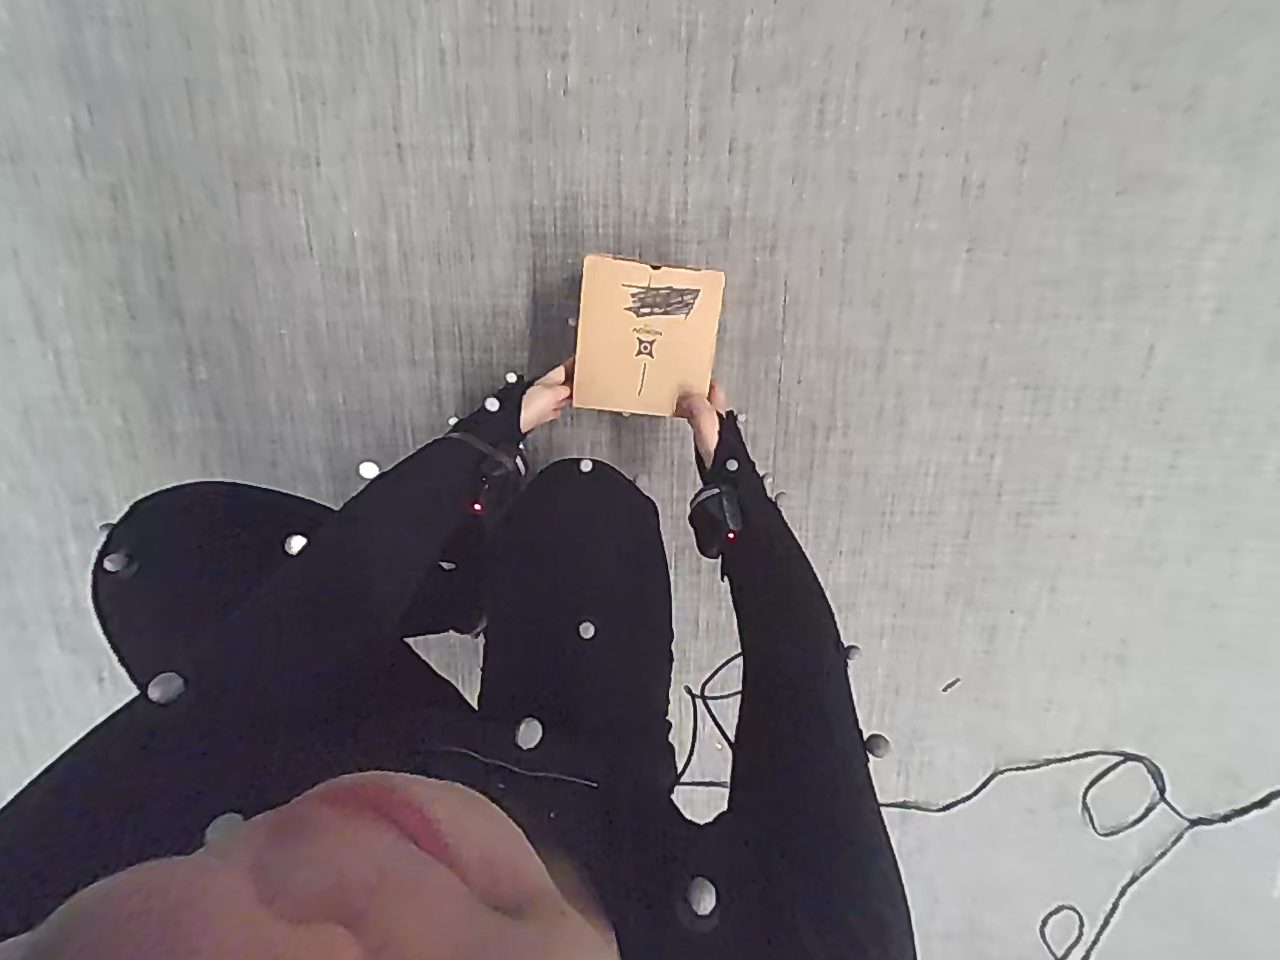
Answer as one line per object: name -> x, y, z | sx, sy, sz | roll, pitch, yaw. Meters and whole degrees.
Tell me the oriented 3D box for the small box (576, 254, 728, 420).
small box -> 0.004, -0.185, 0.715 | 0.168, 0.176, 0.179 | 5, 104, -7
